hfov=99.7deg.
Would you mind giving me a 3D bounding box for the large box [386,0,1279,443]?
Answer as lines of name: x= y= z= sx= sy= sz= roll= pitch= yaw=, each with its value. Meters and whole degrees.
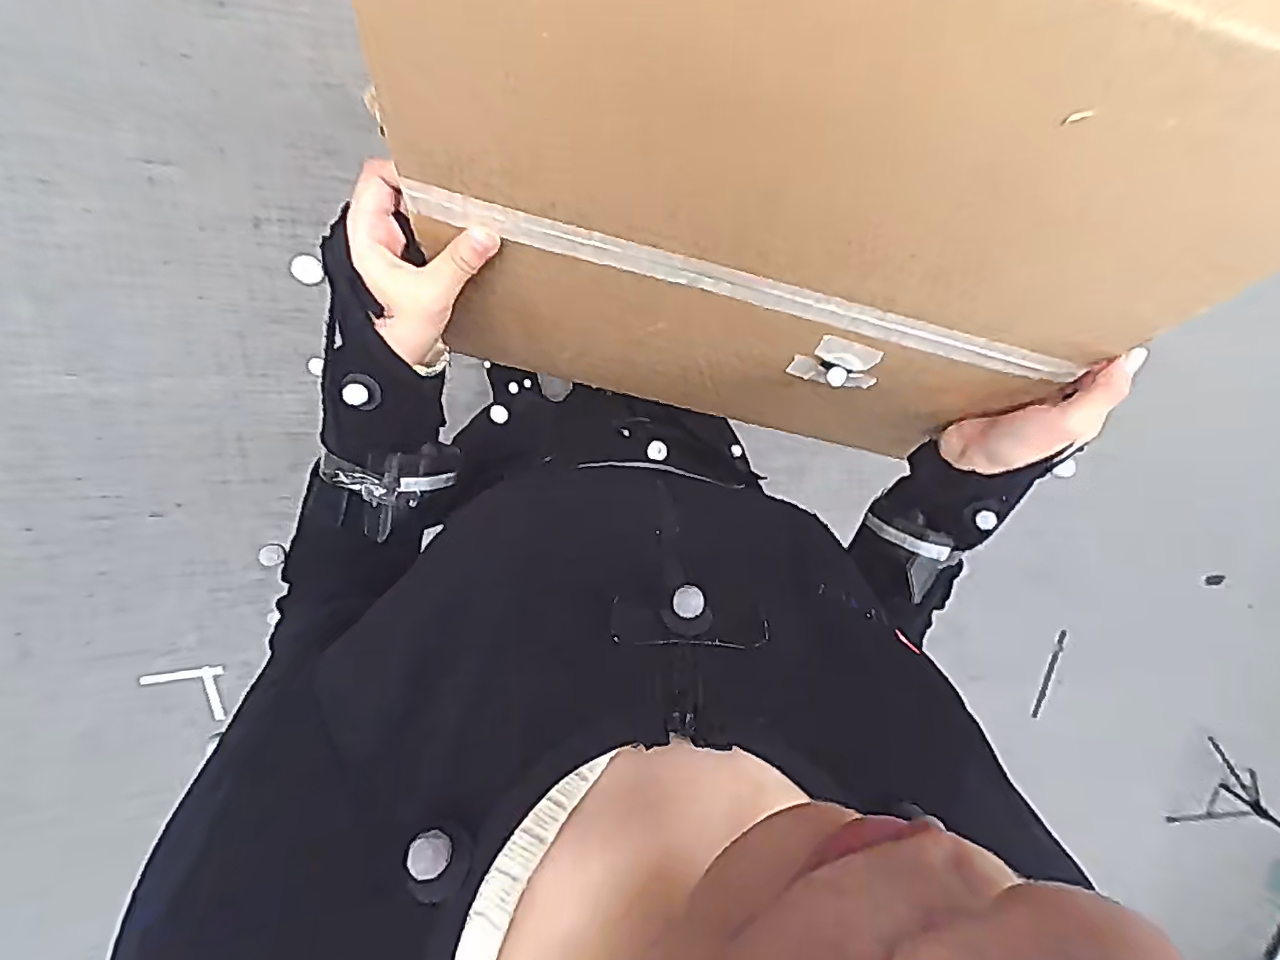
large box: x=0.106 y=-0.256 z=0.333 sx=0.408 sy=0.320 sz=0.320 roll=11 pitch=69 yaw=-8
